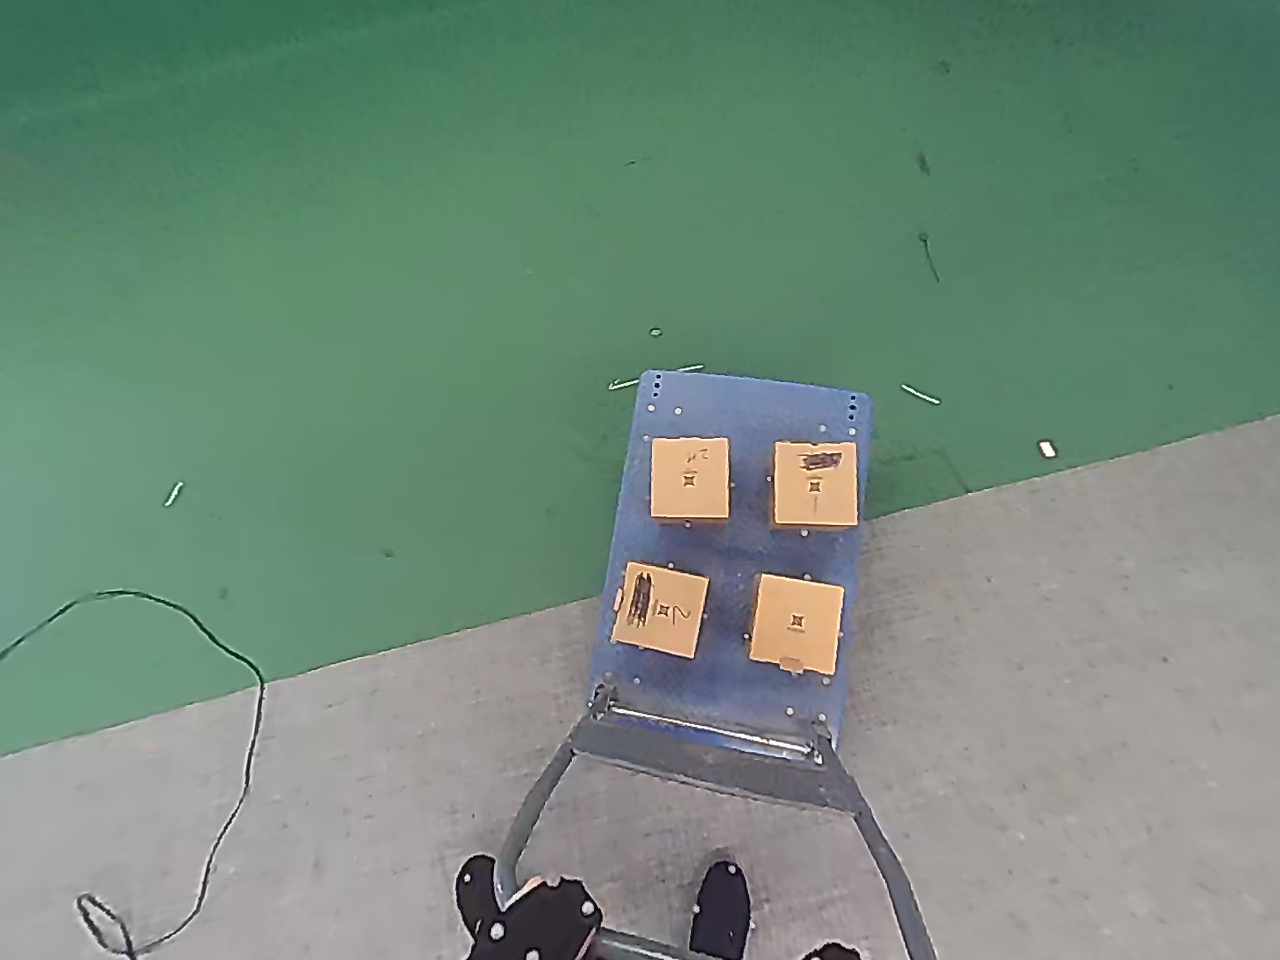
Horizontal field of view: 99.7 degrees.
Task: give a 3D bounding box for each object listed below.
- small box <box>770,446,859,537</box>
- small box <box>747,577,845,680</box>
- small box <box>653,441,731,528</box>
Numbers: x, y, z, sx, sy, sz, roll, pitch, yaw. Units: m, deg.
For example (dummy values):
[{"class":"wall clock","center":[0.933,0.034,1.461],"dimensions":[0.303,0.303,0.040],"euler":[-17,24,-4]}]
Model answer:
[{"class":"small box","center":[0.380,0.030,1.201],"dimensions":[0.168,0.176,0.179],"euler":[2,81,8]},{"class":"small box","center":[0.327,0.309,1.160],"dimensions":[0.168,0.176,0.179],"euler":[9,82,9]},{"class":"small box","center":[0.122,0.016,1.236],"dimensions":[0.168,0.176,0.179],"euler":[1,80,7]}]
